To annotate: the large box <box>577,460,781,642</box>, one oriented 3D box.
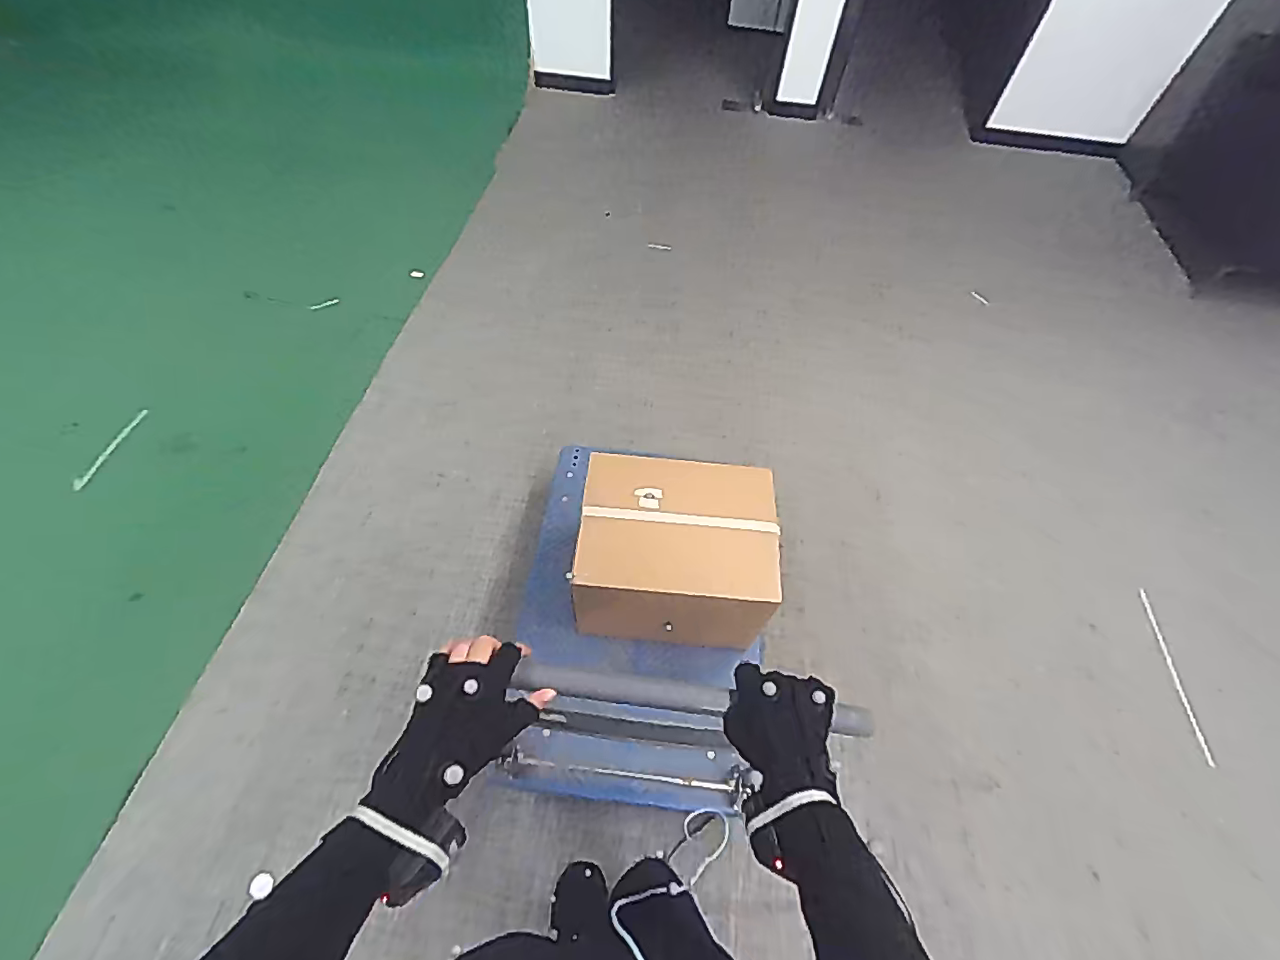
[{"bbox_3d":[0.081,0.173,1.246,0.408,0.320,0.320,4,56,1],"label":"large box"}]
